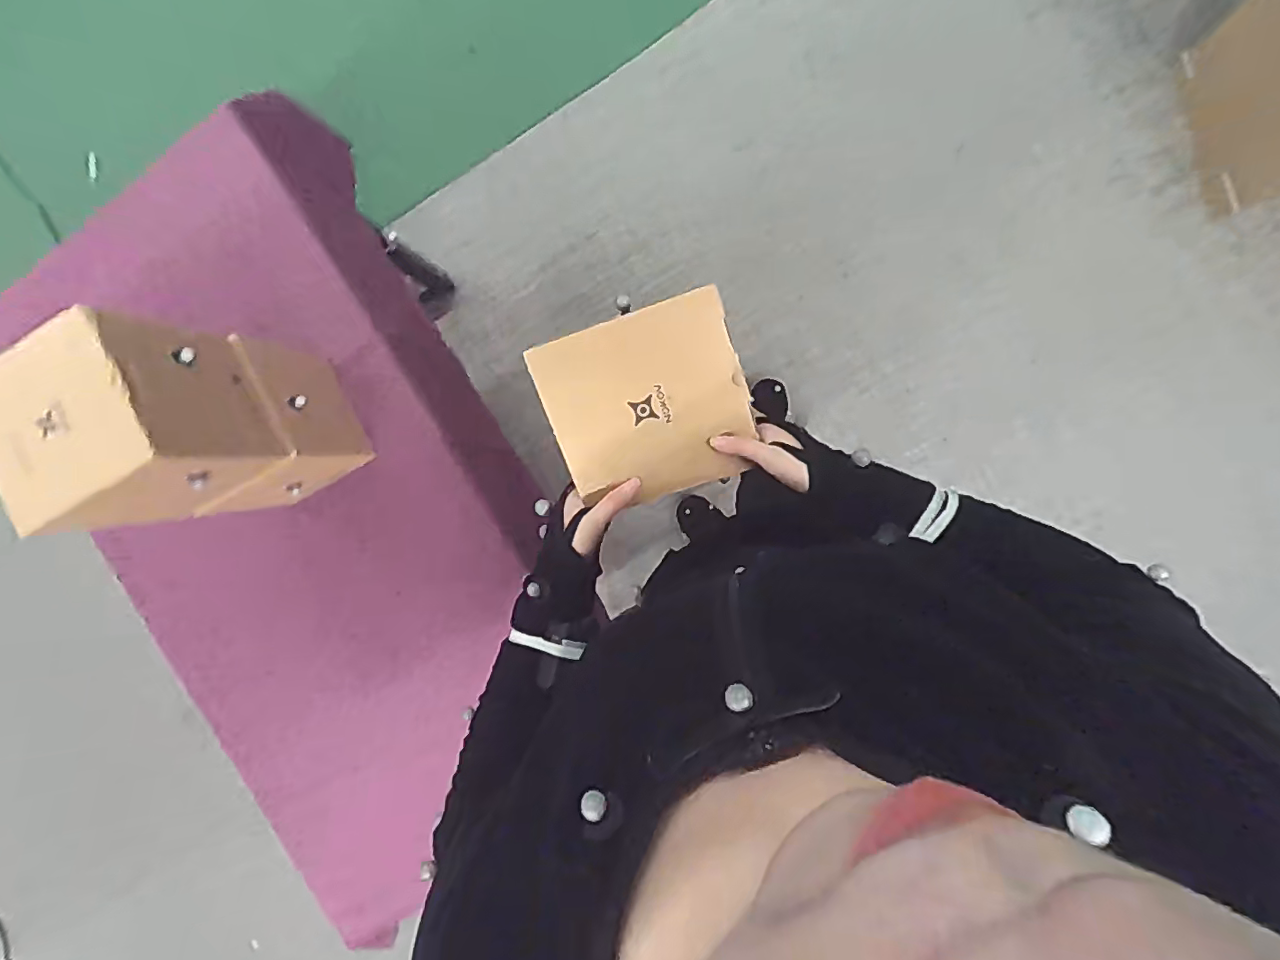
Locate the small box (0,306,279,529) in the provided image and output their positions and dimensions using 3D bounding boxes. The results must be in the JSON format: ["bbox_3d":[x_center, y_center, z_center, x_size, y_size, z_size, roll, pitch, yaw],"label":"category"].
[{"bbox_3d":[-0.551,-0.064,0.607,0.179,0.176,0.168,-27,89,9],"label":"small box"}]

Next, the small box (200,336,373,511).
[{"bbox_3d":[-0.522,-0.075,0.767,0.168,0.176,0.179,-27,89,8],"label":"small box"}]

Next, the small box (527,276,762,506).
[{"bbox_3d":[0.009,-0.094,0.554,0.179,0.176,0.168,-17,106,6],"label":"small box"}]
